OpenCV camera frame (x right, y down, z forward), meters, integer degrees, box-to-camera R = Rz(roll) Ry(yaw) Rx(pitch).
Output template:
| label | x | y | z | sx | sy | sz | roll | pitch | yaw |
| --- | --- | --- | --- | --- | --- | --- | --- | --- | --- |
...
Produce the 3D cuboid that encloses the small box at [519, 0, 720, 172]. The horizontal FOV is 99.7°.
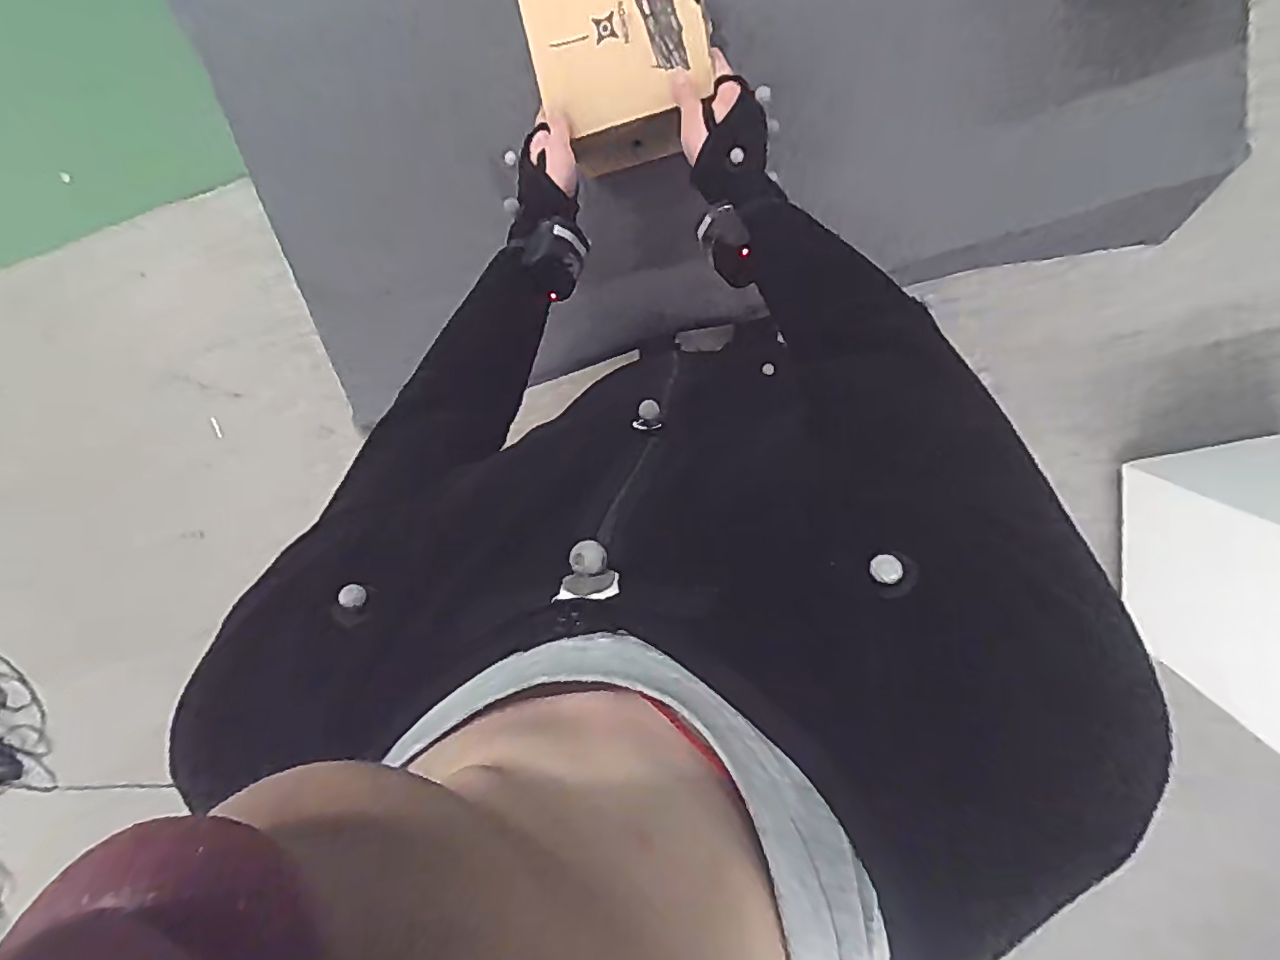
| label | x | y | z | sx | sy | sz | roll | pitch | yaw |
| --- | --- | --- | --- | --- | --- | --- | --- | --- | --- |
| small box | -0.012 | -0.455 | 0.582 | 0.179 | 0.176 | 0.168 | -9 | 107 | 12 |
